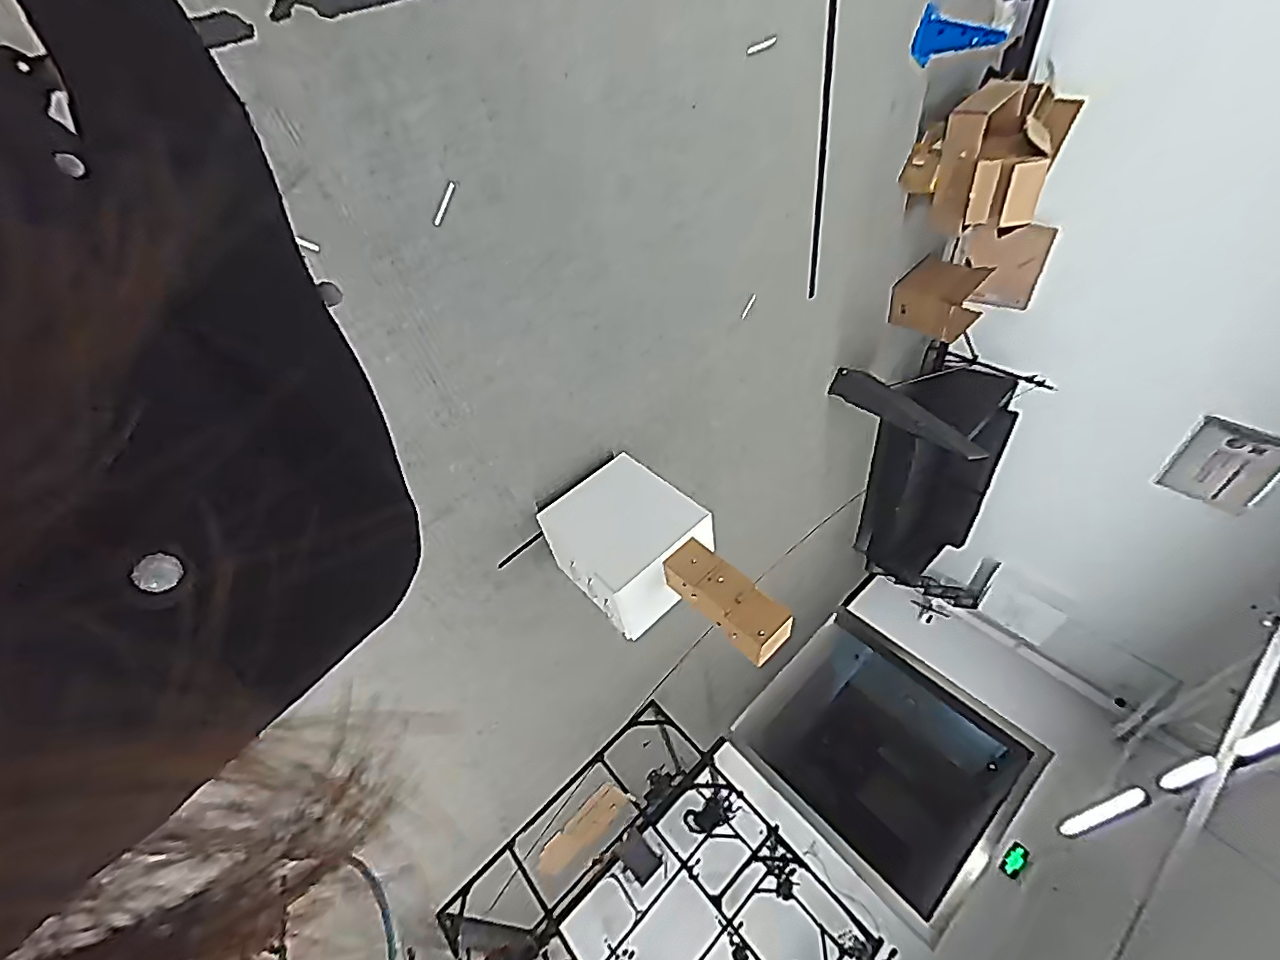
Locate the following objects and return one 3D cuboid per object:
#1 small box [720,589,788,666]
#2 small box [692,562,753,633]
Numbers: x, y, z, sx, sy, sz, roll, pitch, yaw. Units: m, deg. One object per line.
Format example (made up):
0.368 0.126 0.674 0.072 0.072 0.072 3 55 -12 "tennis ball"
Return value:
0.415 0.532 1.976 0.179 0.176 0.168 -37 143 -23 "small box"
0.313 0.450 2.073 0.168 0.176 0.179 -37 142 -25 "small box"
